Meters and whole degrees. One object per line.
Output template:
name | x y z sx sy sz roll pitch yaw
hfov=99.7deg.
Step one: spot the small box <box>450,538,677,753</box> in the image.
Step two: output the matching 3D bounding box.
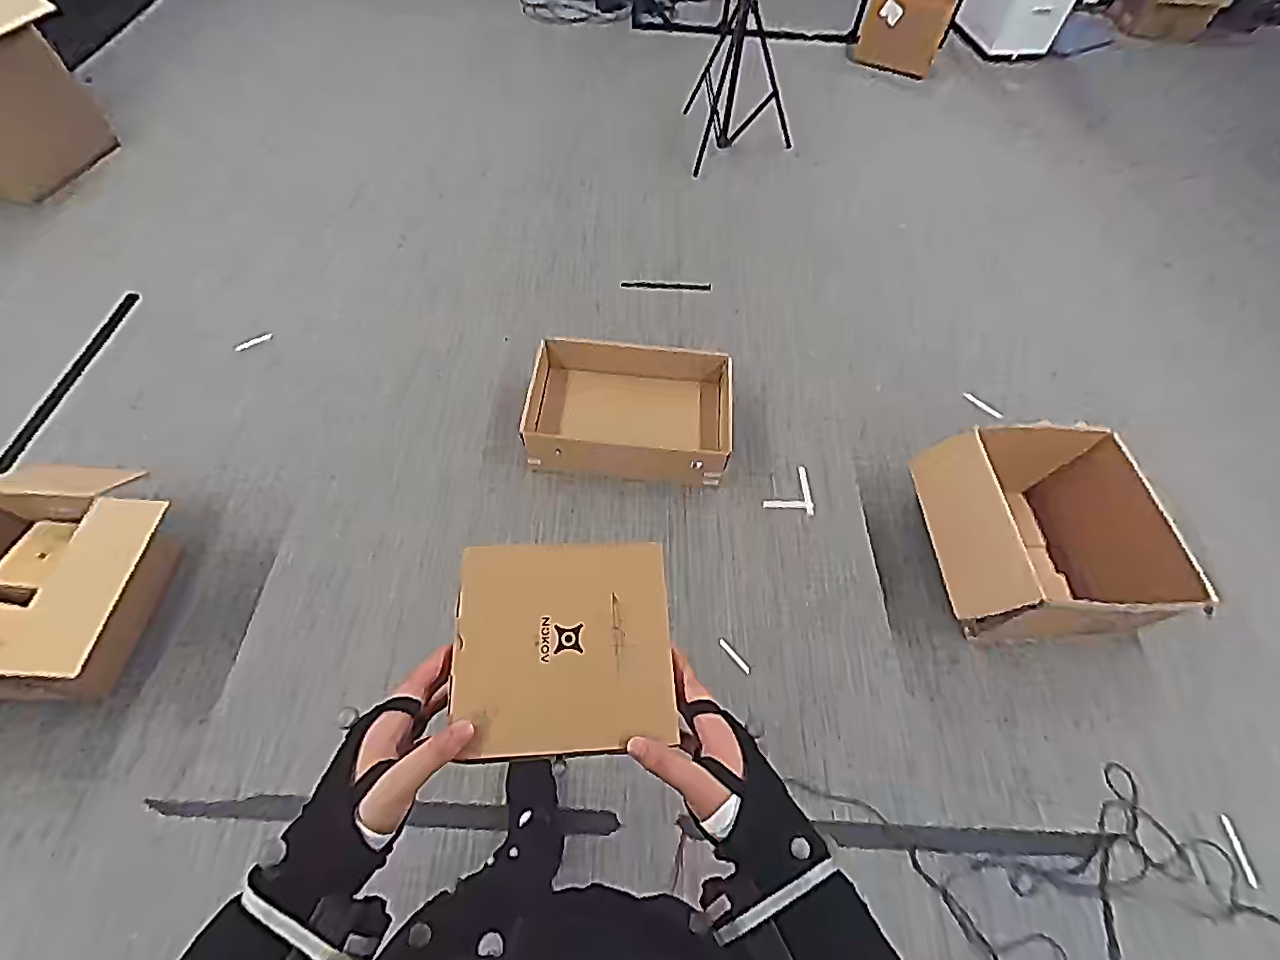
small box | -0.069 0.164 0.517 0.179 0.176 0.168 -1 63 -8
